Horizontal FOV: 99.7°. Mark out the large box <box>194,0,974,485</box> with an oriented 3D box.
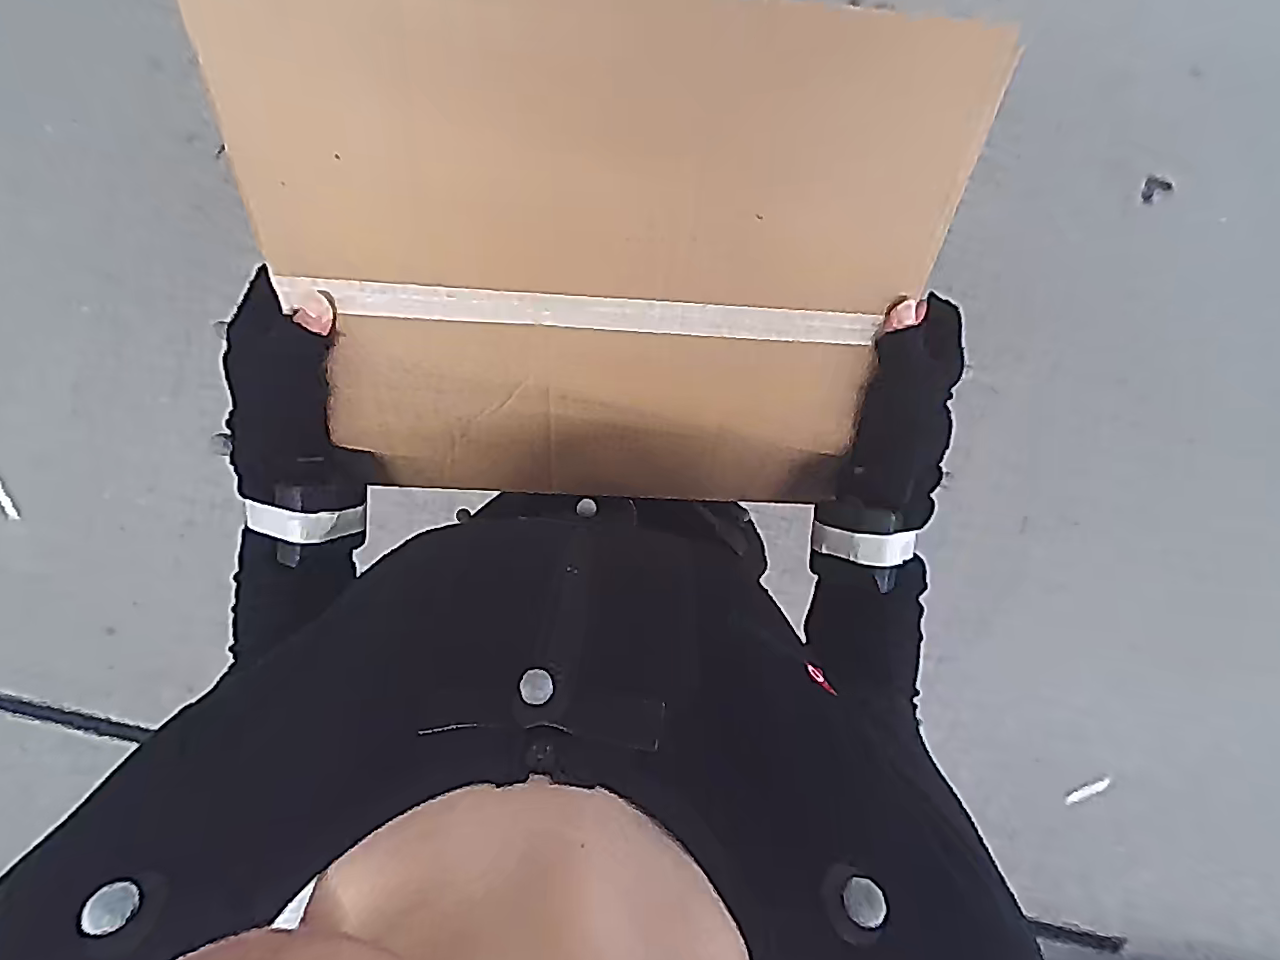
[{"bbox_3d":[-0.032,-0.211,0.479,0.408,0.320,0.320,2,128,-4],"label":"large box"}]
